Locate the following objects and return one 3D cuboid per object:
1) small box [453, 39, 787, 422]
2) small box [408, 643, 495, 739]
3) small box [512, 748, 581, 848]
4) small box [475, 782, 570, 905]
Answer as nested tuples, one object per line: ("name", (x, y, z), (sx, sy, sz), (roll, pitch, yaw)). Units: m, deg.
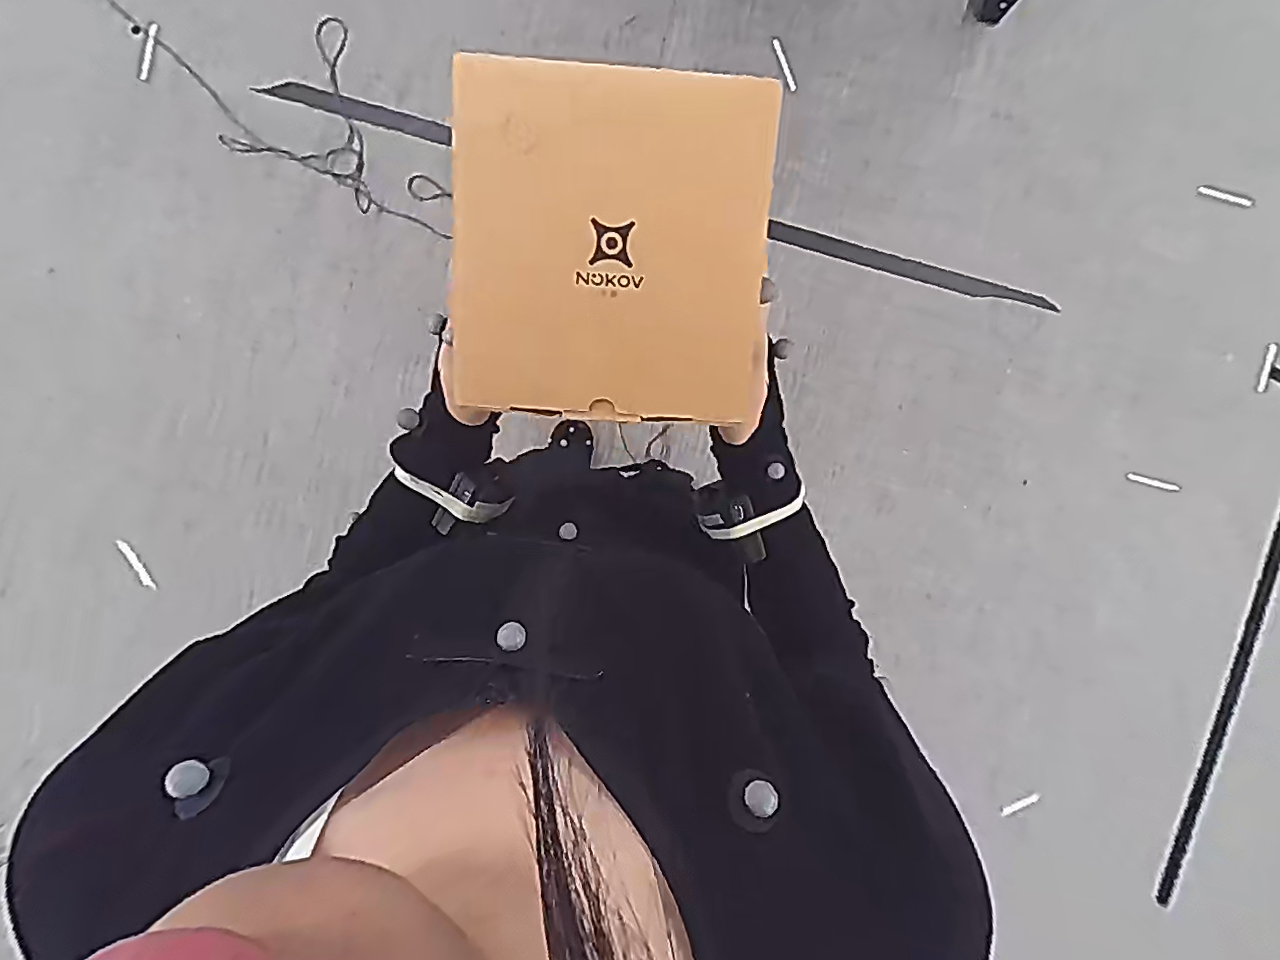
("small box", (-0.016, -0.138, 0.357), (0.168, 0.176, 0.179), (3, 102, -2))
("small box", (-0.487, 0.546, 1.420), (0.168, 0.176, 0.179), (8, 94, -3))
("small box", (-0.255, 0.845, 1.449), (0.179, 0.176, 0.168), (7, 93, -4))
("small box", (-0.272, 0.852, 1.283), (0.179, 0.176, 0.168), (11, 95, -3))
